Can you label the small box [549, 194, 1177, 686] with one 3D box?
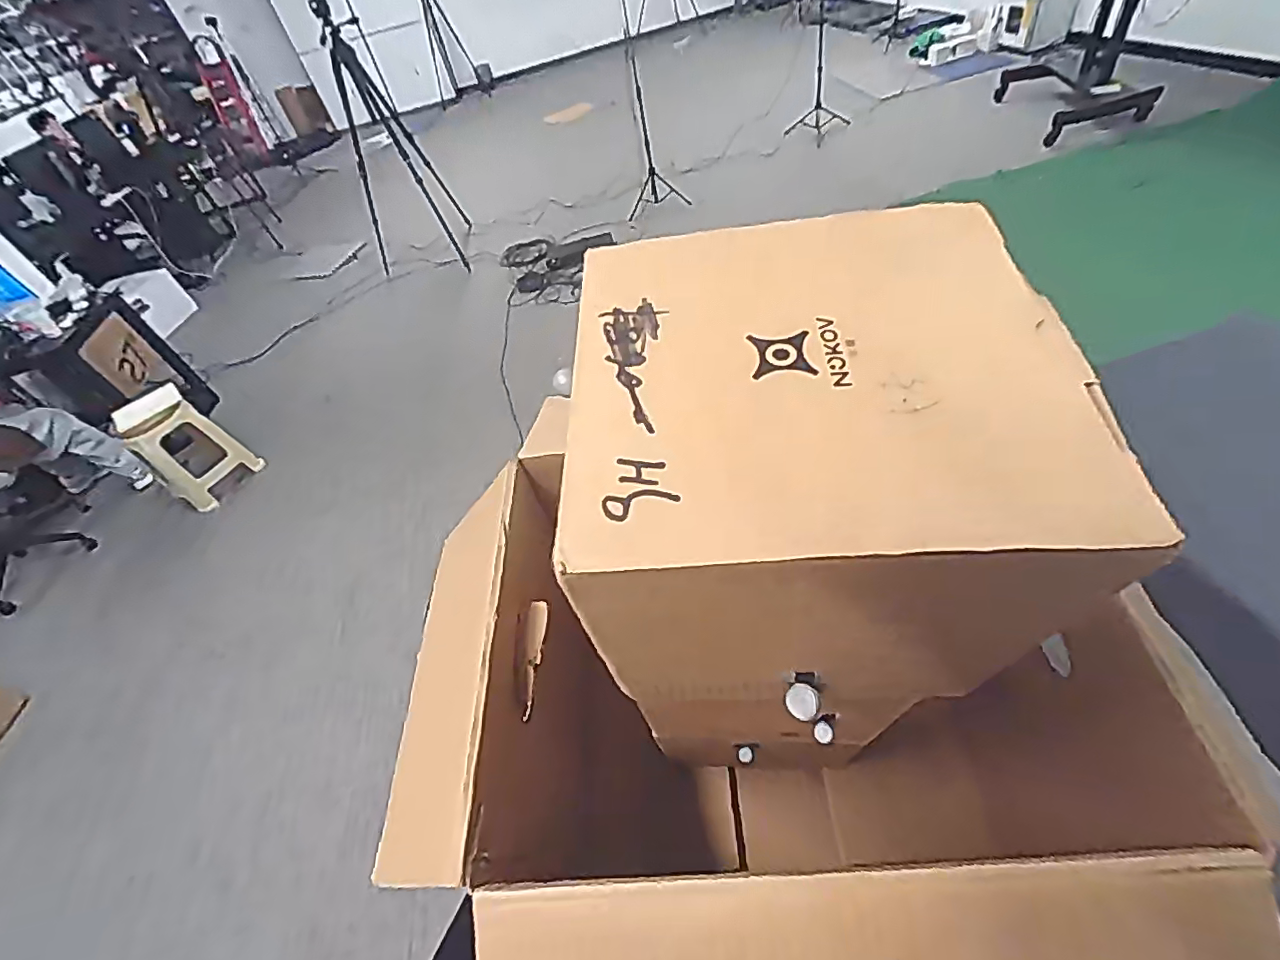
[{"bbox_3d":[0.068,-0.006,0.261,0.179,0.176,0.168,-3,56,5],"label":"small box"}]
